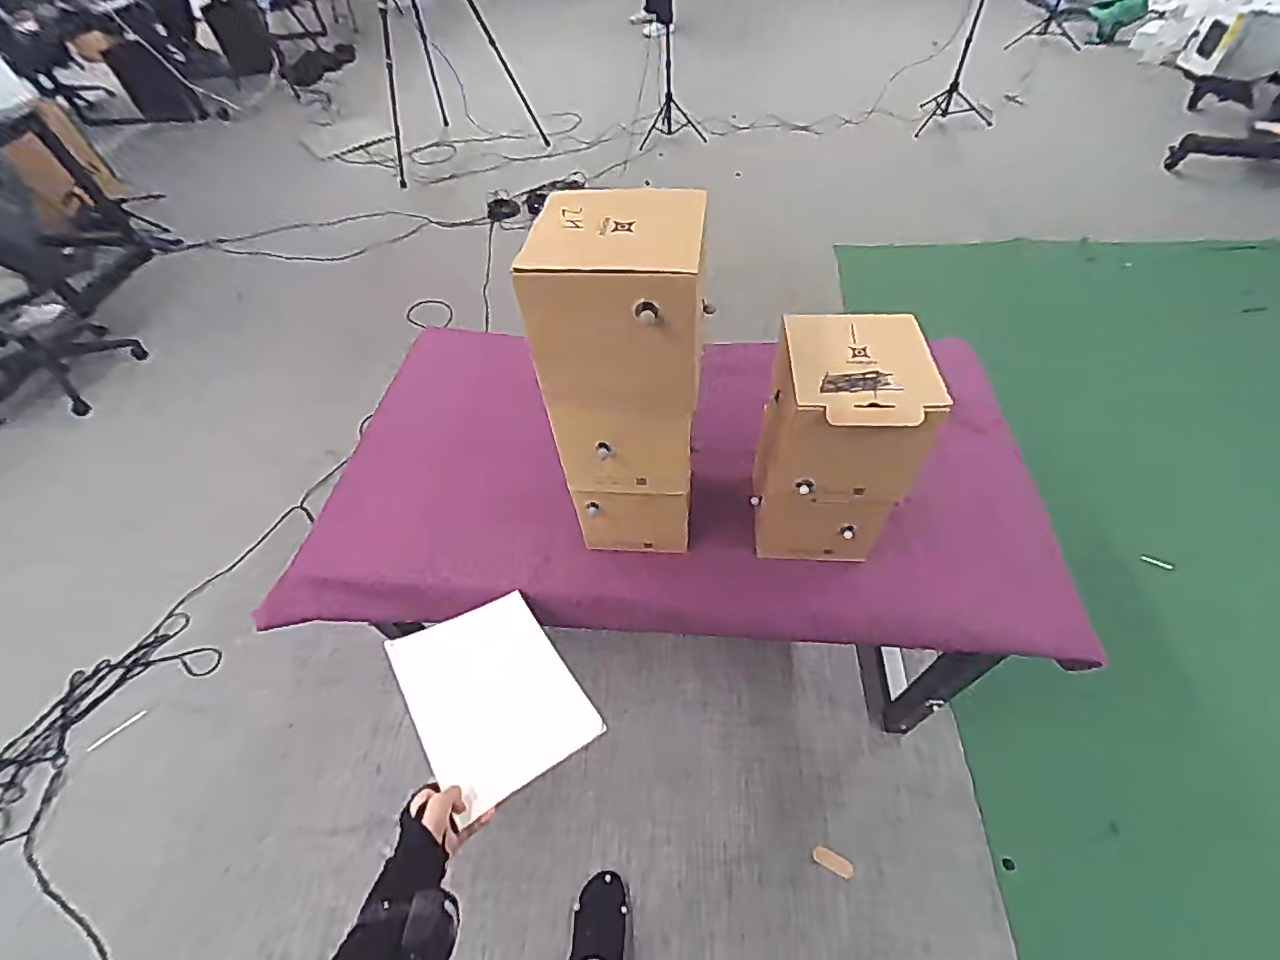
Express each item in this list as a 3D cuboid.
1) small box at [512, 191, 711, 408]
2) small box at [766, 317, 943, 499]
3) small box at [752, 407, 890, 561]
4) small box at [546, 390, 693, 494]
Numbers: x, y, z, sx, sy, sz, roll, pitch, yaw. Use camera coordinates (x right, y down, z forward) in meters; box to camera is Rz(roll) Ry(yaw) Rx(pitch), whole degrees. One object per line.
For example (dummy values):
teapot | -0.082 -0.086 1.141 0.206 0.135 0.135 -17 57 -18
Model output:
small box | -0.017 -0.195 0.598 0.179 0.176 0.168 4 51 8
small box | 0.261 -0.091 0.704 0.168 0.176 0.179 2 50 5
small box | 0.266 0.009 0.835 0.168 0.176 0.179 3 51 6
small box | -0.014 -0.097 0.732 0.168 0.176 0.179 2 51 7
